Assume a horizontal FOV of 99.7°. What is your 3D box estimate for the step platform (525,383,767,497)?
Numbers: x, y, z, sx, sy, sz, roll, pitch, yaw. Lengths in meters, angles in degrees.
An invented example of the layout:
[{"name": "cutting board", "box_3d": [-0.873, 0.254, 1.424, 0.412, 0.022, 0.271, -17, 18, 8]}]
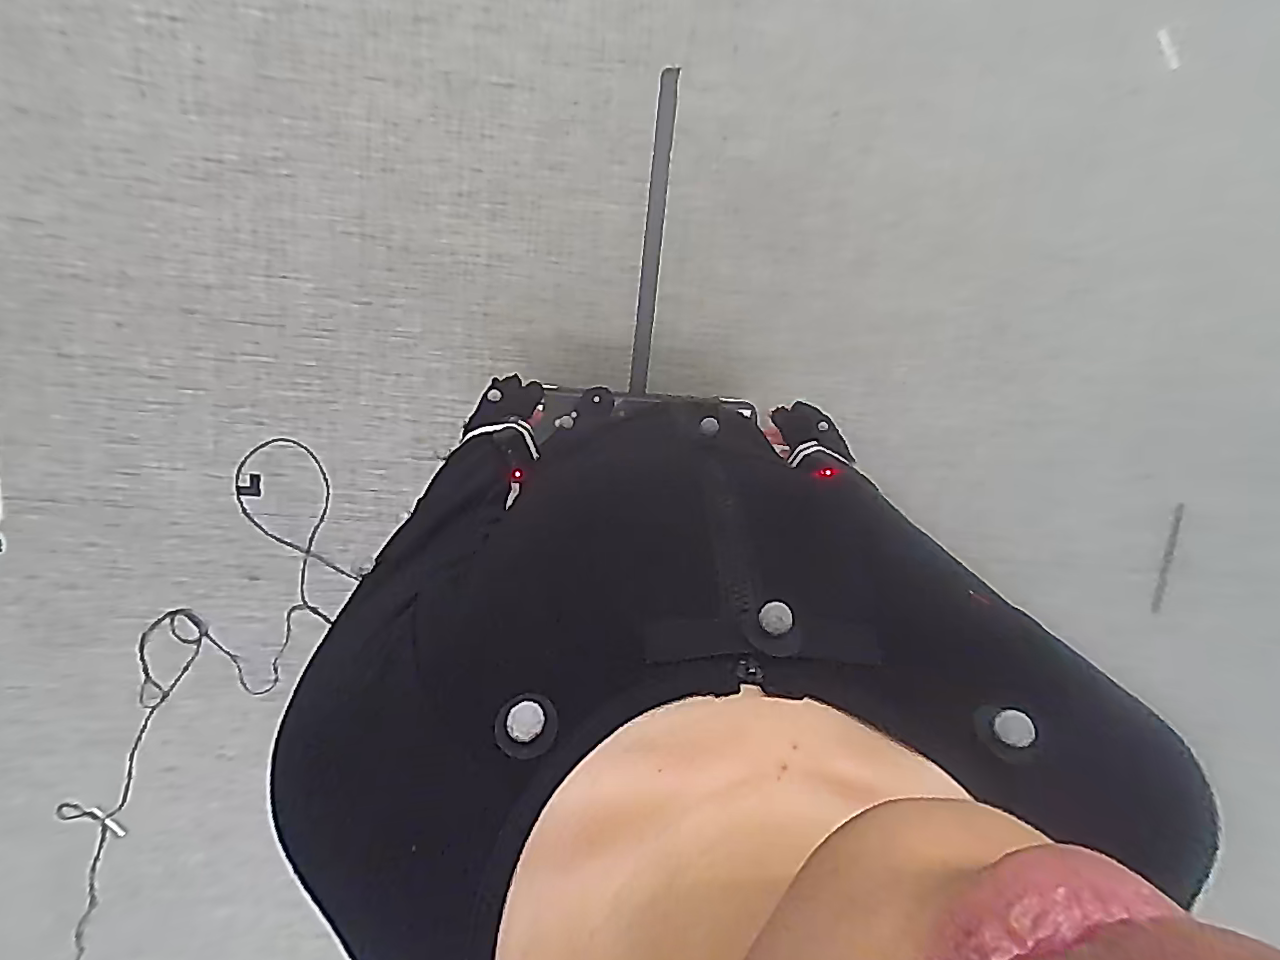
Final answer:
[{"name": "step platform", "box_3d": [0.016, -0.116, 1.561, 0.684, 0.204, 0.286, 3, 101, -5]}]
